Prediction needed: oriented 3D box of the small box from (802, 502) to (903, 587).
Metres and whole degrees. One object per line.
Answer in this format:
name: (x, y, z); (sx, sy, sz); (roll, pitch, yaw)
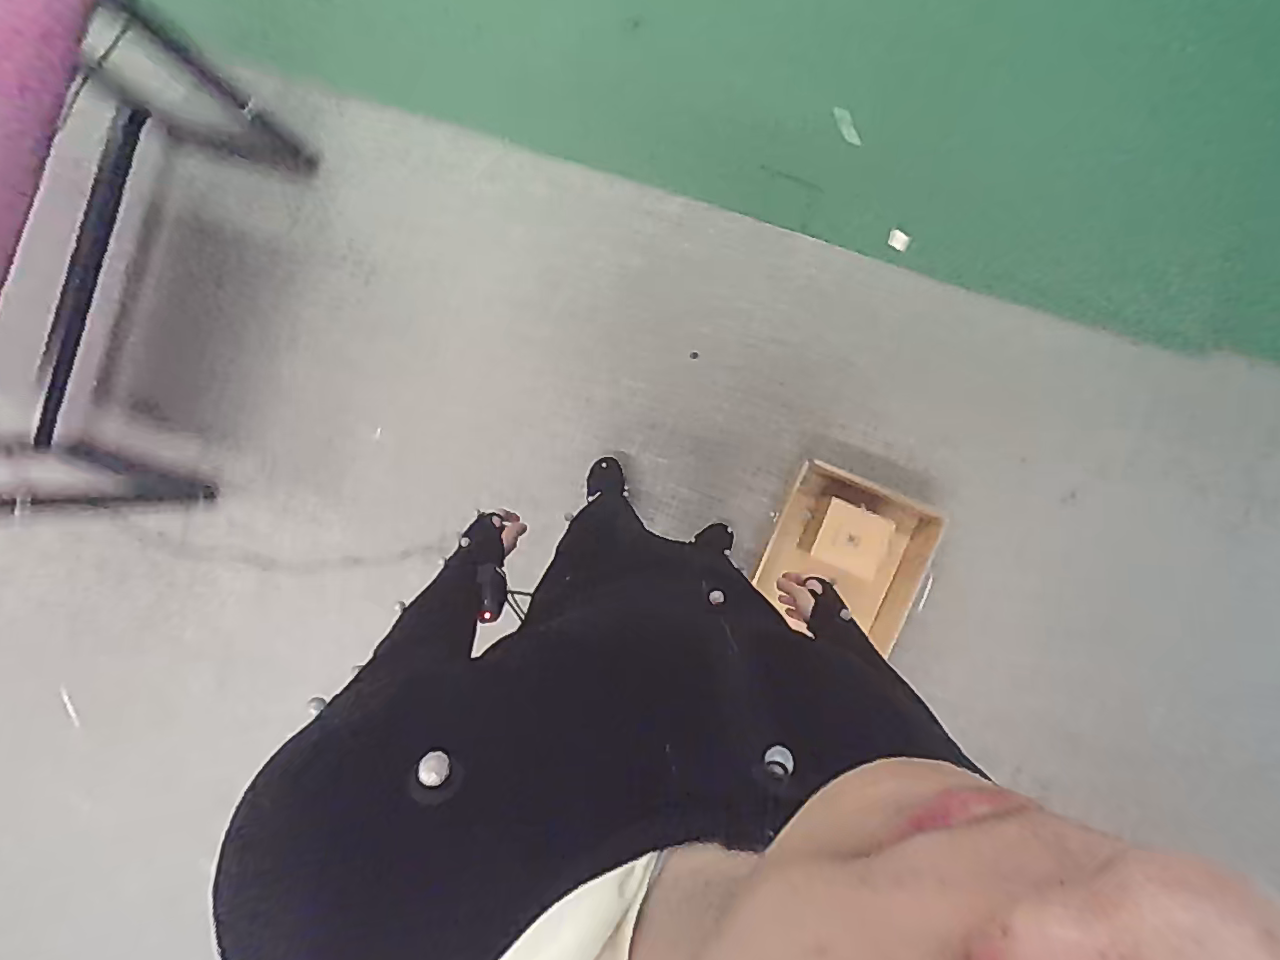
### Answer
small box: (0.561, 0.162, 1.451); (0.179, 0.176, 0.168); (24, 91, 5)
